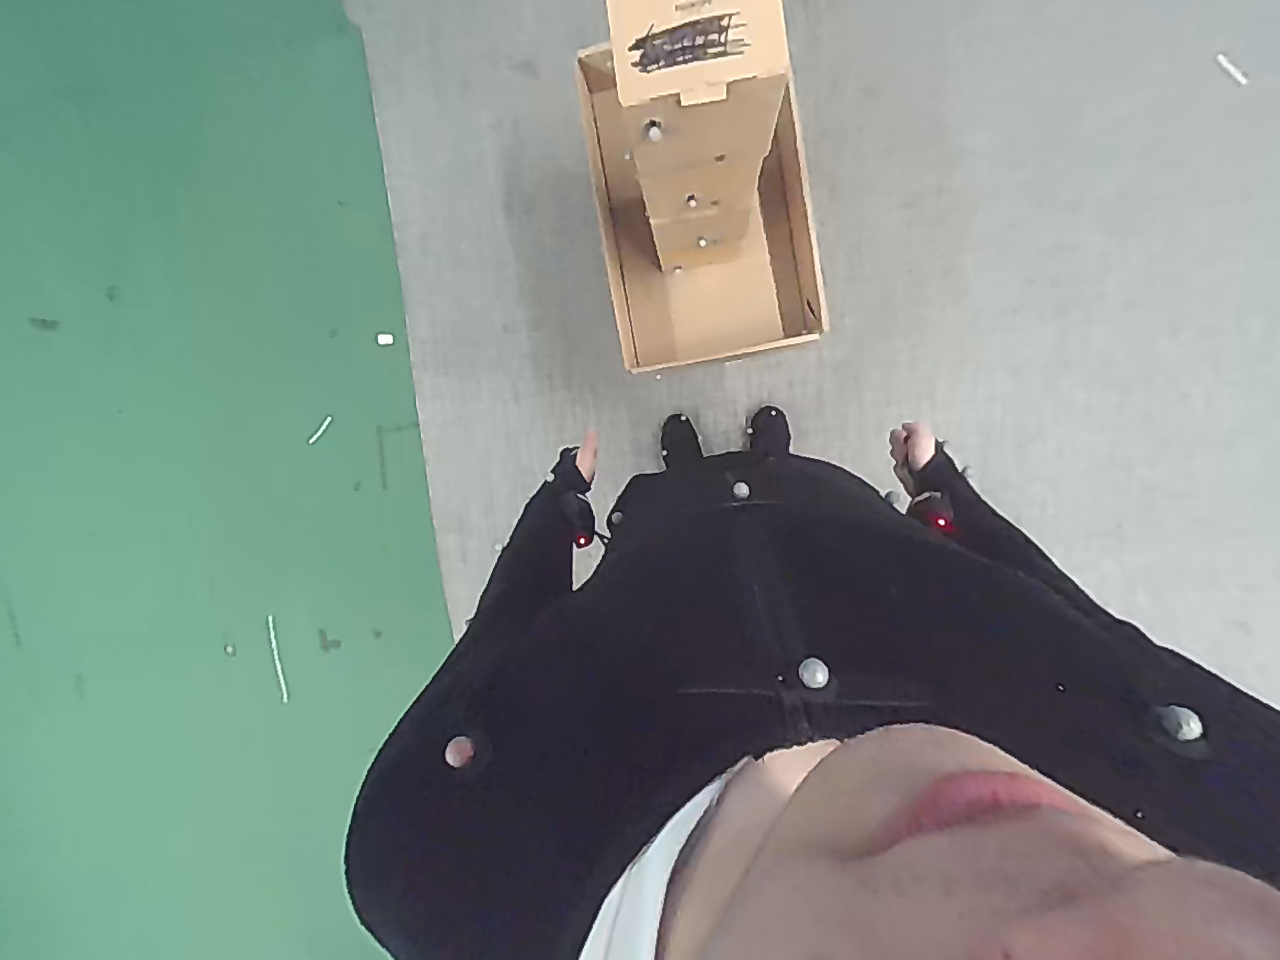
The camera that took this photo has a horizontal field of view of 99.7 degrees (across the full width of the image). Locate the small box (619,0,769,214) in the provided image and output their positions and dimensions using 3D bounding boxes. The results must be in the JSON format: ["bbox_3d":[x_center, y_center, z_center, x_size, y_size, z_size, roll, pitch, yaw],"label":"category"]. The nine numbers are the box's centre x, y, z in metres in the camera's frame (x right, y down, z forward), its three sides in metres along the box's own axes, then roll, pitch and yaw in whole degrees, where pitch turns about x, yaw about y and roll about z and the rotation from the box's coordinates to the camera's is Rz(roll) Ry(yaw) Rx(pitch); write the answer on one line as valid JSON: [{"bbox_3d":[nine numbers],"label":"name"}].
[{"bbox_3d":[0.073,-0.501,0.745,0.168,0.176,0.179,-10,96,7],"label":"small box"}]

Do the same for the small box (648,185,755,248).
[{"bbox_3d":[0.091,-0.515,0.905,0.168,0.176,0.179,-9,96,8],"label":"small box"}]

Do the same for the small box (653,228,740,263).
[{"bbox_3d":[0.106,-0.545,1.067,0.168,0.176,0.179,-8,95,7],"label":"small box"}]
